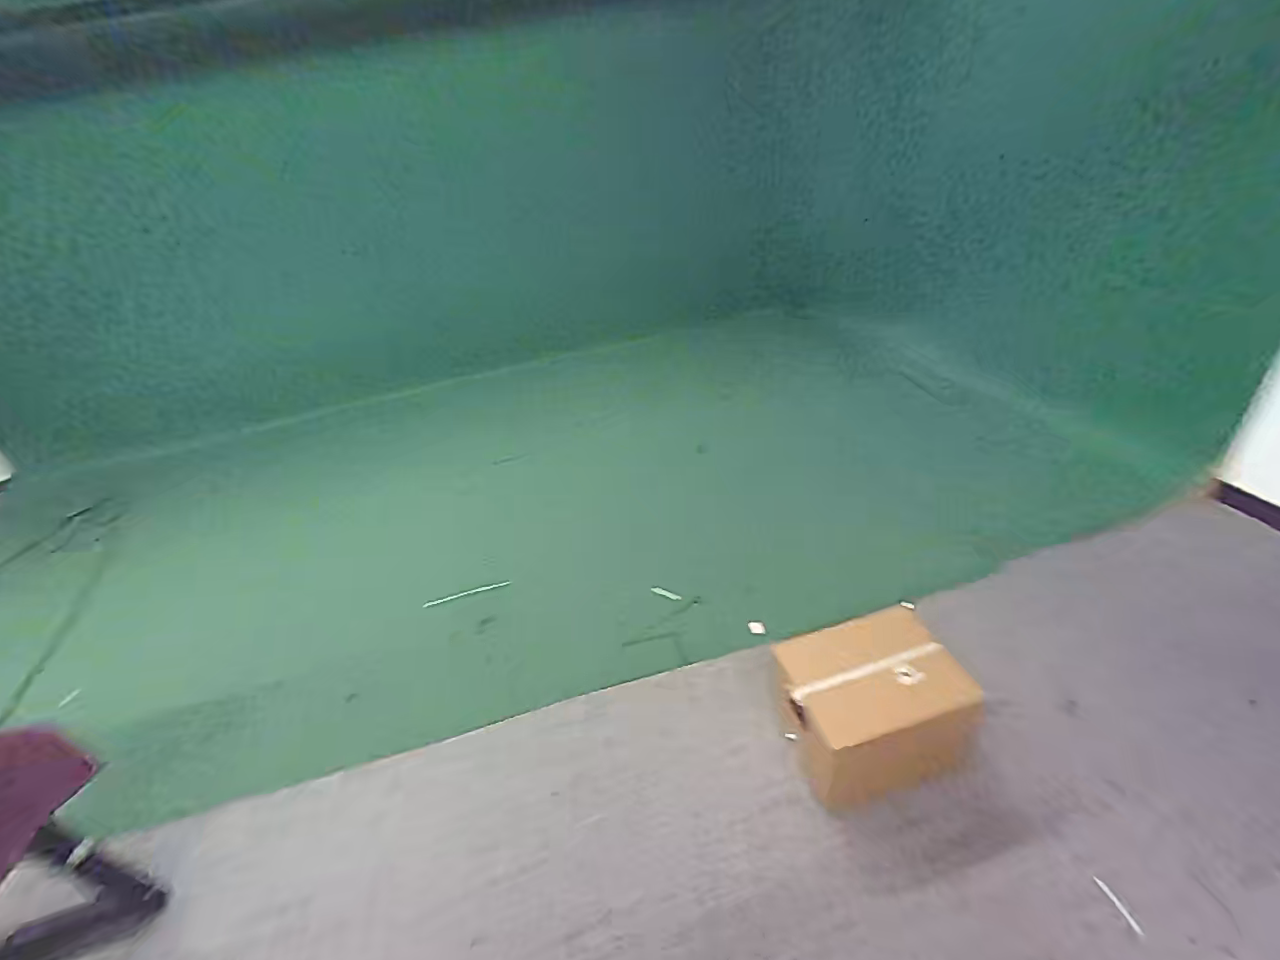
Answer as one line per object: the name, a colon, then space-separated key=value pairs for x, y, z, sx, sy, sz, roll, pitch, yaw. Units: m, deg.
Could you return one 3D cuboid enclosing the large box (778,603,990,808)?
large box: x=0.622 y=0.595 z=1.448 sx=0.408 sy=0.320 sz=0.320 roll=-15 pitch=34 yaw=-7
